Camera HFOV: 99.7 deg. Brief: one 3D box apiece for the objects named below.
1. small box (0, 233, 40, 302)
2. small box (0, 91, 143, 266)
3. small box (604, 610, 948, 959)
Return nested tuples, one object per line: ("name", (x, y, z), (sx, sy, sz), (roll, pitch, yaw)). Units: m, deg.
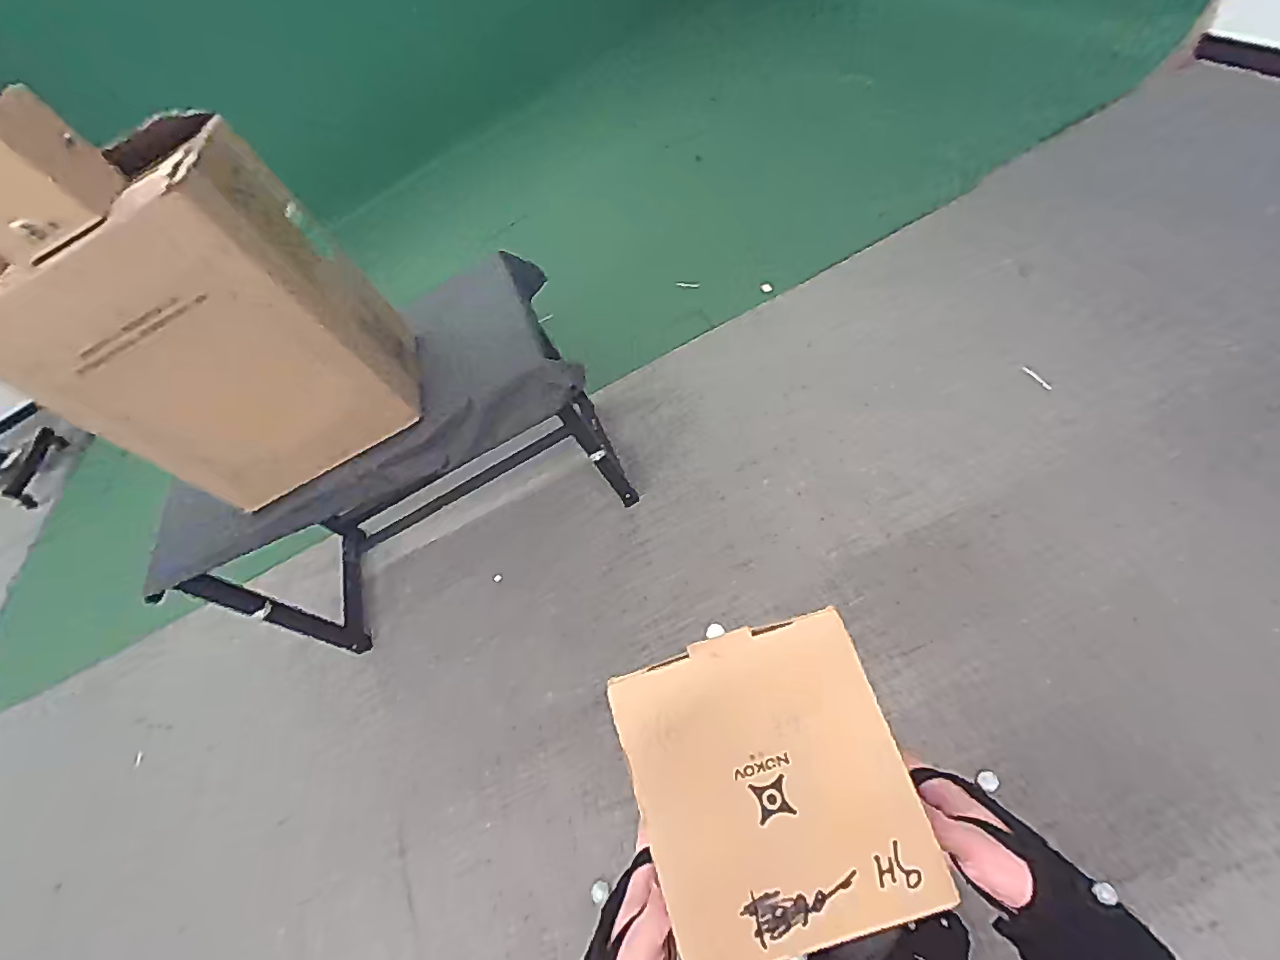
("small box", (-1.201, -0.383, 0.922), (0.168, 0.176, 0.179), (-26, 51, 7))
("small box", (-0.989, -0.495, 0.900), (0.168, 0.176, 0.179), (-28, 53, 6))
("small box", (0.085, 0.215, 0.413), (0.168, 0.176, 0.179), (-20, 70, 2))
